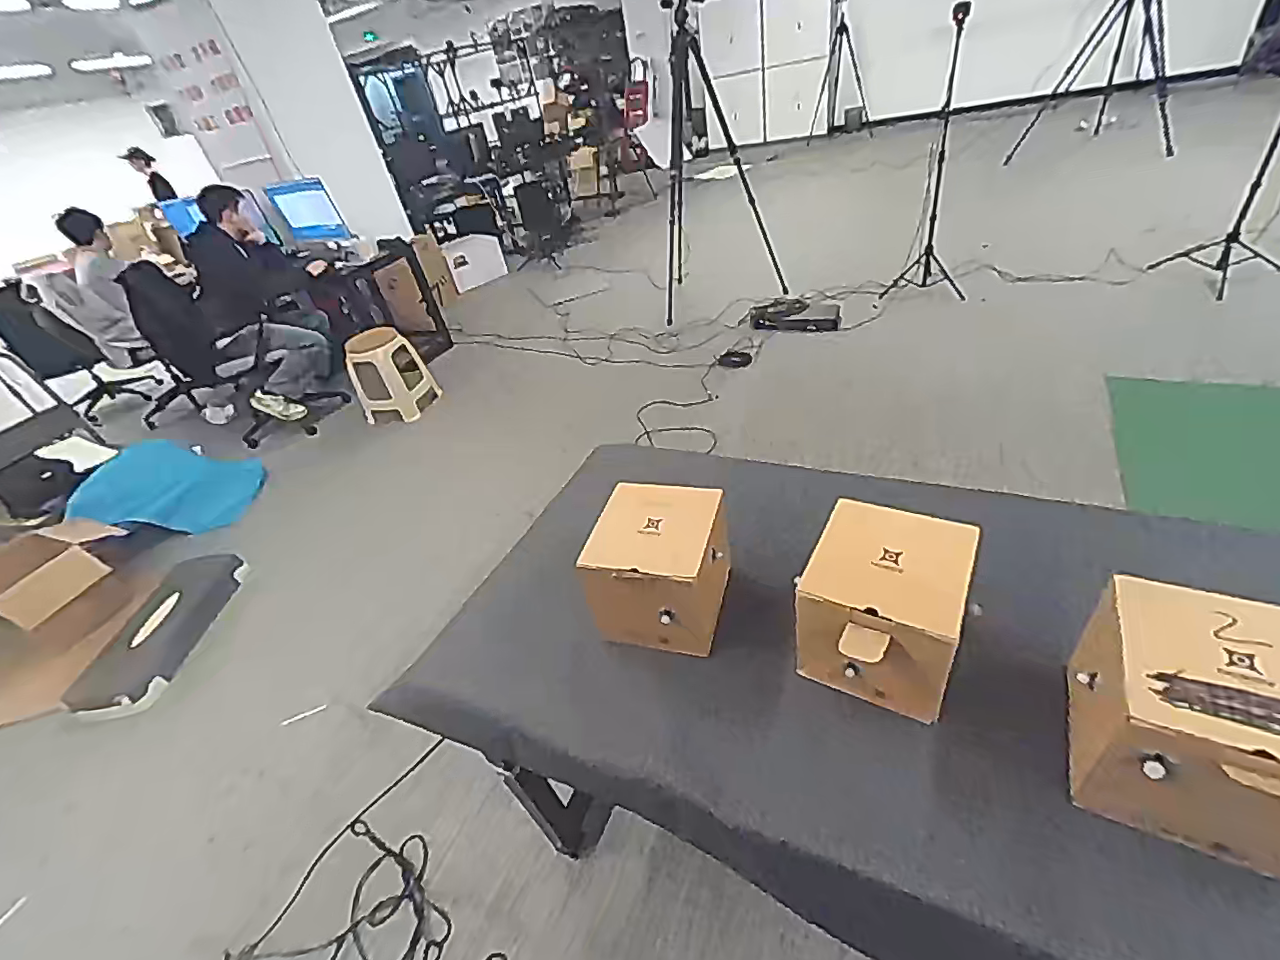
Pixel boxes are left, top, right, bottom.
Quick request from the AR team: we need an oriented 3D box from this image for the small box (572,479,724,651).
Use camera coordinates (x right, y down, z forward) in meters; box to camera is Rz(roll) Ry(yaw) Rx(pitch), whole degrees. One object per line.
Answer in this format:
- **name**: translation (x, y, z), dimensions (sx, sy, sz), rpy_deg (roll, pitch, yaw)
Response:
- **small box**: translation (0.025, 0.120, 0.783), dimensions (0.168, 0.176, 0.179), rpy_deg (4, 39, 19)

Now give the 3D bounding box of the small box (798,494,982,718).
- **small box**: translation (0.299, 0.149, 0.666), dimensions (0.168, 0.176, 0.179), rpy_deg (14, 45, 30)
